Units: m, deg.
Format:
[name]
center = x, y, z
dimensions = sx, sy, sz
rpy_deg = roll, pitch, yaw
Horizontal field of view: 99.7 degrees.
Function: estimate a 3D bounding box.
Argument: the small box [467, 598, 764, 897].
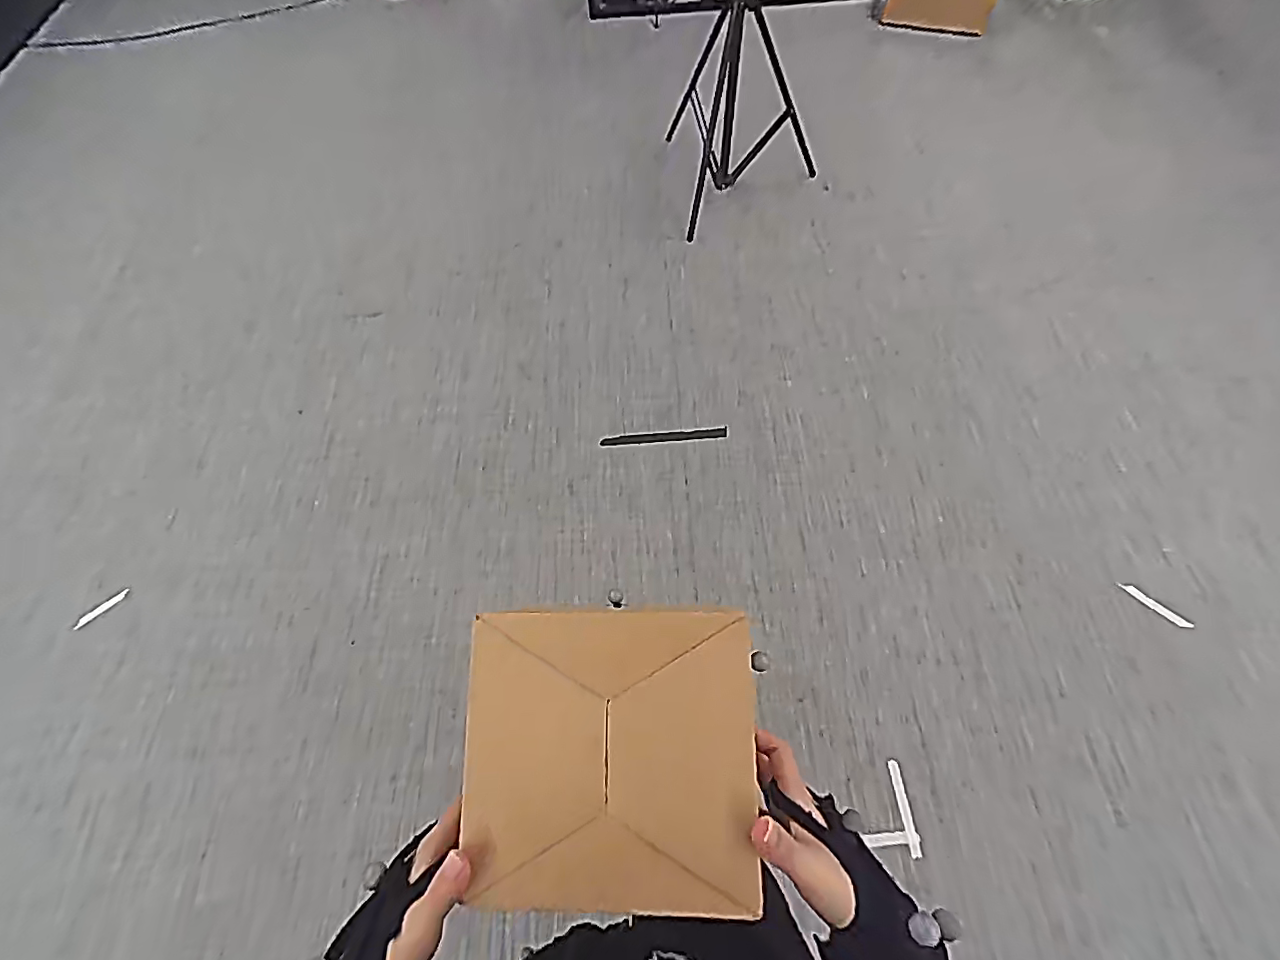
[small box]
center = -0.008, 0.173, 0.399
dimensions = 0.179, 0.176, 0.168
rpy_deg = -1, 77, 4
